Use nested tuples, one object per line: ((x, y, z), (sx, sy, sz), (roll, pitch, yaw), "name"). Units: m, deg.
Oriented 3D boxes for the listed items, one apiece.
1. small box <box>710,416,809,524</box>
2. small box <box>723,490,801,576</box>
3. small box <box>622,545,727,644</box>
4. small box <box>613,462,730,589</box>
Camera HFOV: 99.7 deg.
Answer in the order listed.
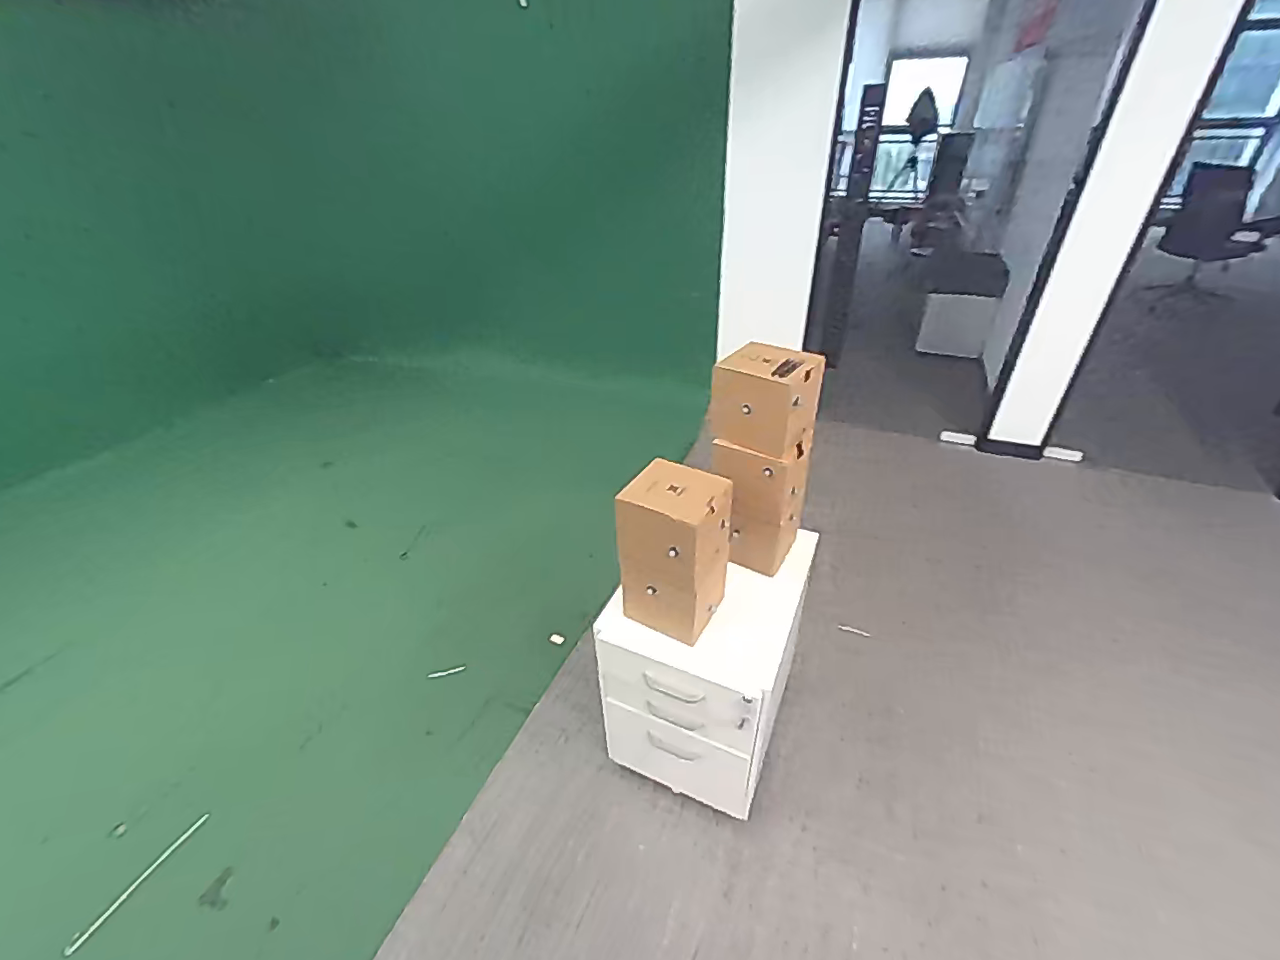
((0.267, -0.024, 1.239), (0.179, 0.176, 0.168), (19, 40, 26), "small box")
((0.278, 0.109, 1.332), (0.179, 0.176, 0.168), (18, 40, 27), "small box")
((0.072, 0.224, 1.175), (0.179, 0.176, 0.168), (19, 39, 25), "small box")
((0.064, 0.091, 1.082), (0.179, 0.176, 0.168), (17, 37, 26), "small box")
